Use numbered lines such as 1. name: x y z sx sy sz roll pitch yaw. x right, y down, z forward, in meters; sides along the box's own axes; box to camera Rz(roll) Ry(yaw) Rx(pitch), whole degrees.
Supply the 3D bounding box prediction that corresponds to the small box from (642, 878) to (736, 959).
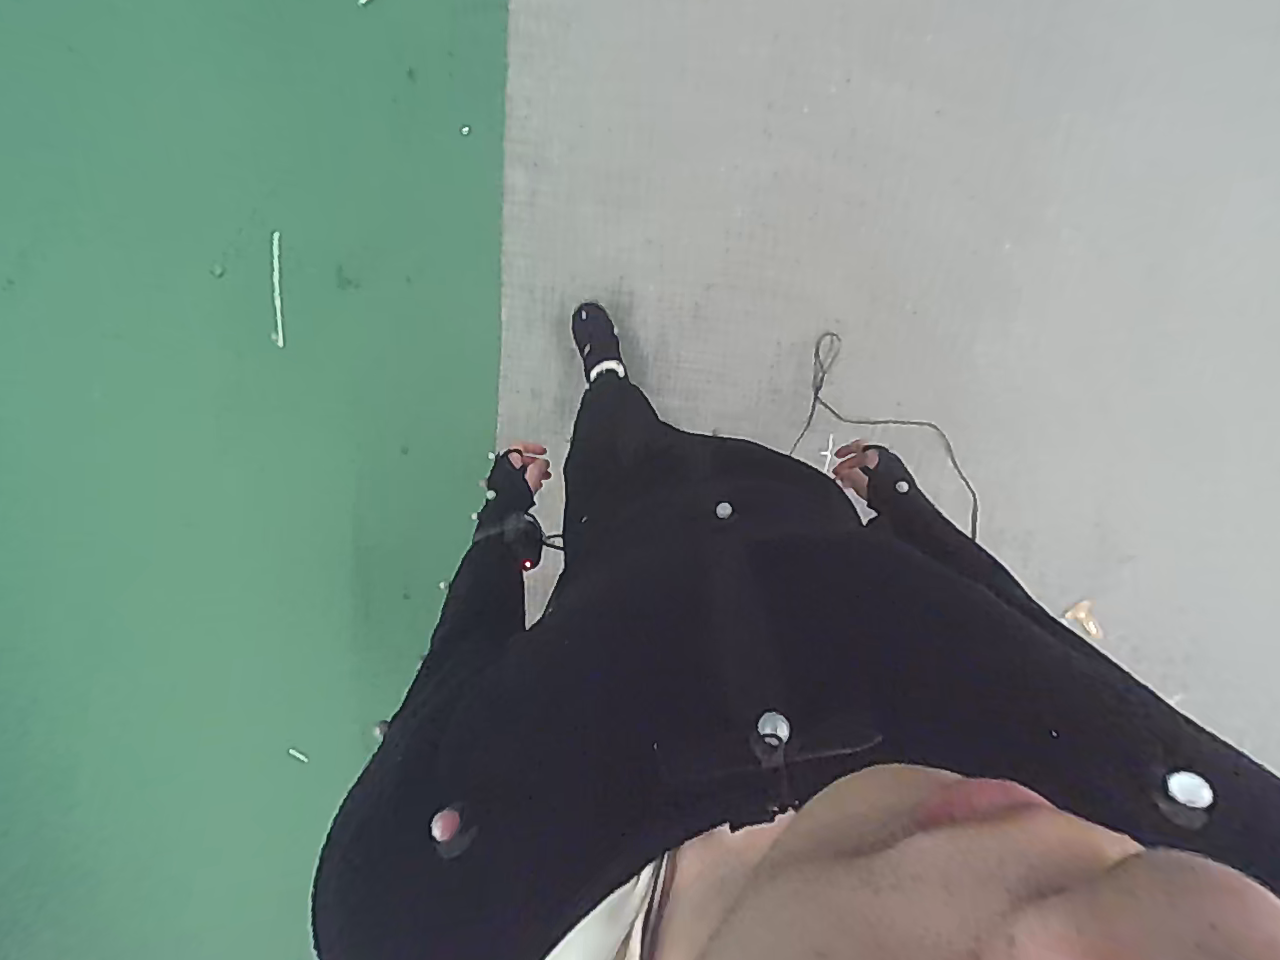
1. small box: 0.090 0.917 1.035 0.168 0.176 0.179 6 103 2
